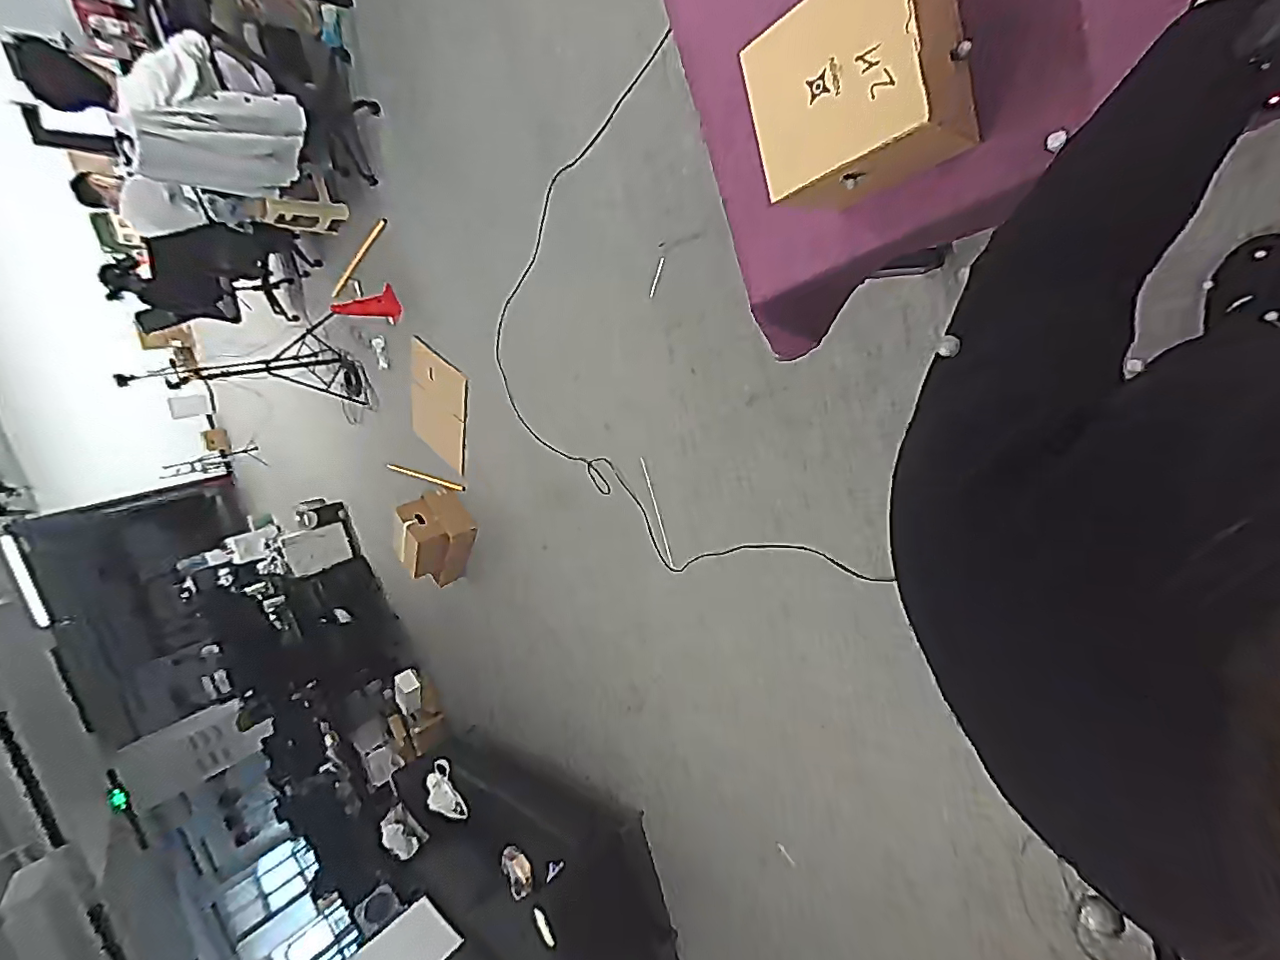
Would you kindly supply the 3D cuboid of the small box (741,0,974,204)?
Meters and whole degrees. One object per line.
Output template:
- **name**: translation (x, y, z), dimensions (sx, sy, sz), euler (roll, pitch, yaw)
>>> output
- **small box**: translation (0.246, -0.430, 0.609), dimensions (0.179, 0.176, 0.168), euler (-6, 102, 47)
